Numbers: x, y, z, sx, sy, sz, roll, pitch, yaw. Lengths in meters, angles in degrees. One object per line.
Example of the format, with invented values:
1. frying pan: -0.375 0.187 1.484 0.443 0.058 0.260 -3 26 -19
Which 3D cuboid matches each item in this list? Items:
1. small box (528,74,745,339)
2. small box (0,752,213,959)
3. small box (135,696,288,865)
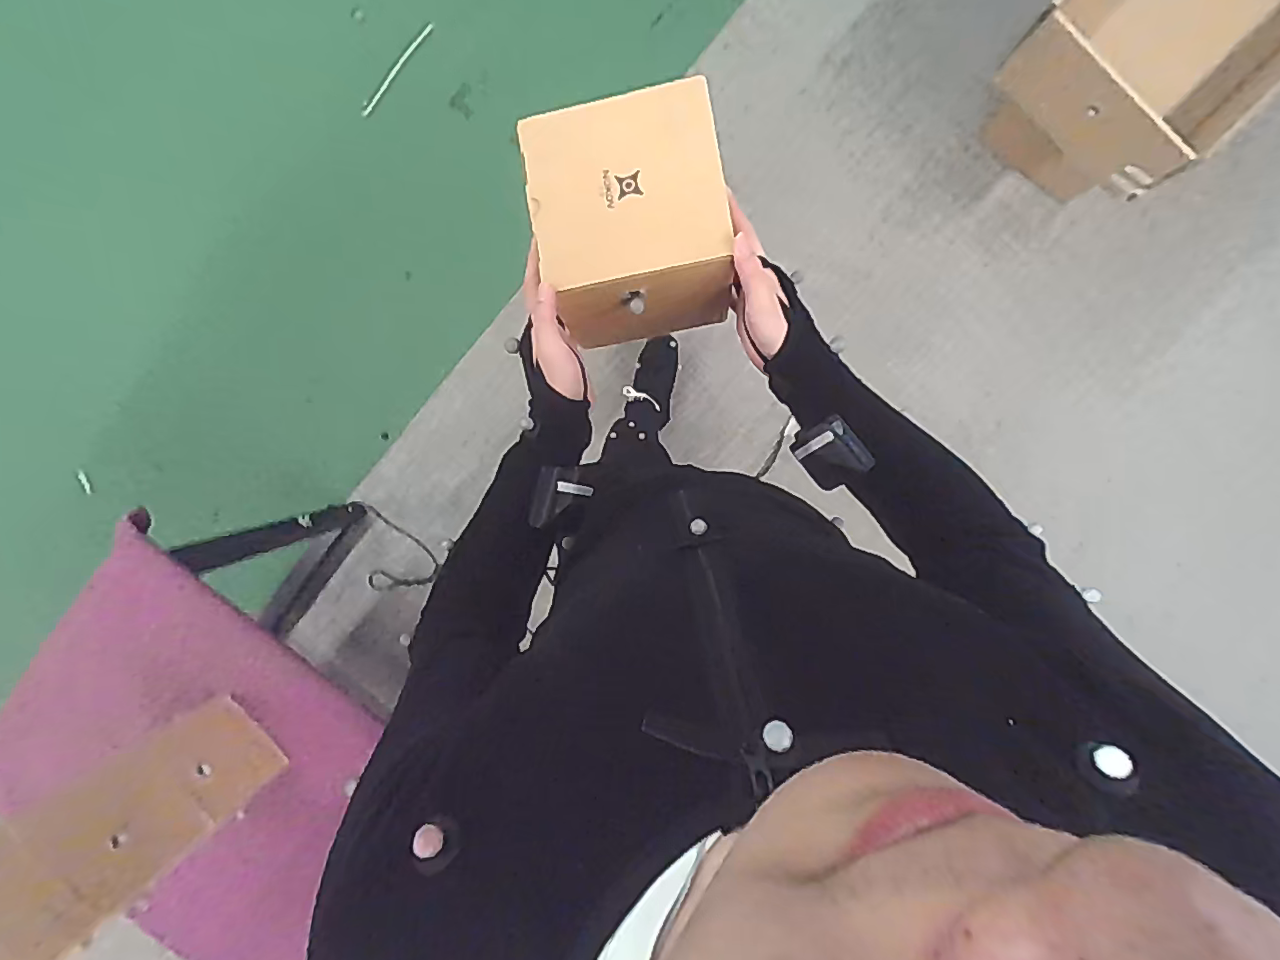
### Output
1. small box: 0.003 -0.257 0.552 0.179 0.176 0.168 -8 87 7
2. small box: -0.759 0.526 0.748 0.168 0.176 0.179 -43 94 6
3. small box: -0.751 0.507 0.910 0.168 0.176 0.179 -39 93 6
